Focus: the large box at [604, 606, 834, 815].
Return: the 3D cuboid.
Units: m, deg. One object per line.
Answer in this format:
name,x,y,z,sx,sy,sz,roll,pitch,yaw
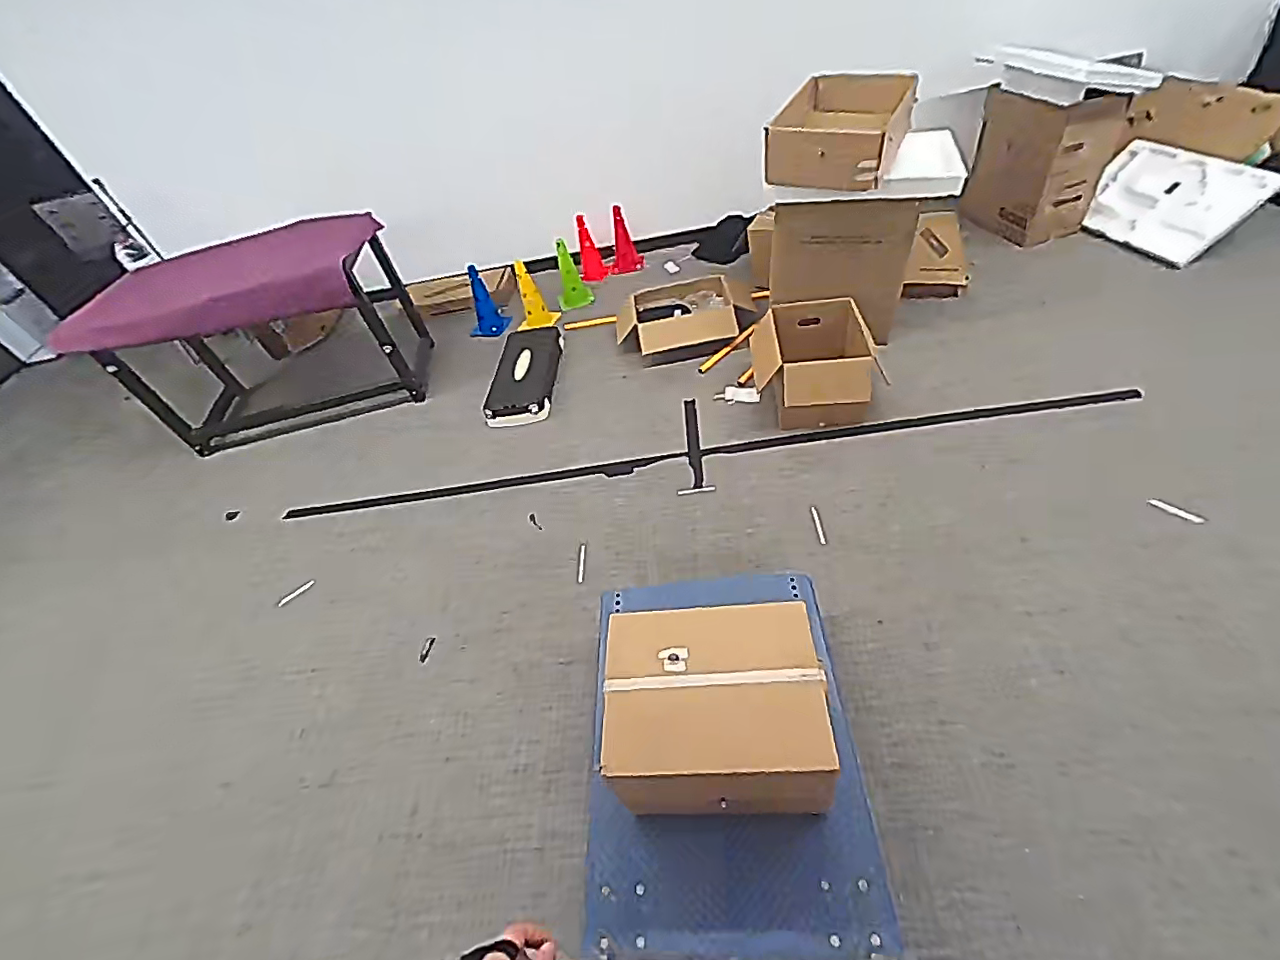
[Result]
large box,0.160,0.493,1.135,0.408,0.320,0.320,-7,46,9
